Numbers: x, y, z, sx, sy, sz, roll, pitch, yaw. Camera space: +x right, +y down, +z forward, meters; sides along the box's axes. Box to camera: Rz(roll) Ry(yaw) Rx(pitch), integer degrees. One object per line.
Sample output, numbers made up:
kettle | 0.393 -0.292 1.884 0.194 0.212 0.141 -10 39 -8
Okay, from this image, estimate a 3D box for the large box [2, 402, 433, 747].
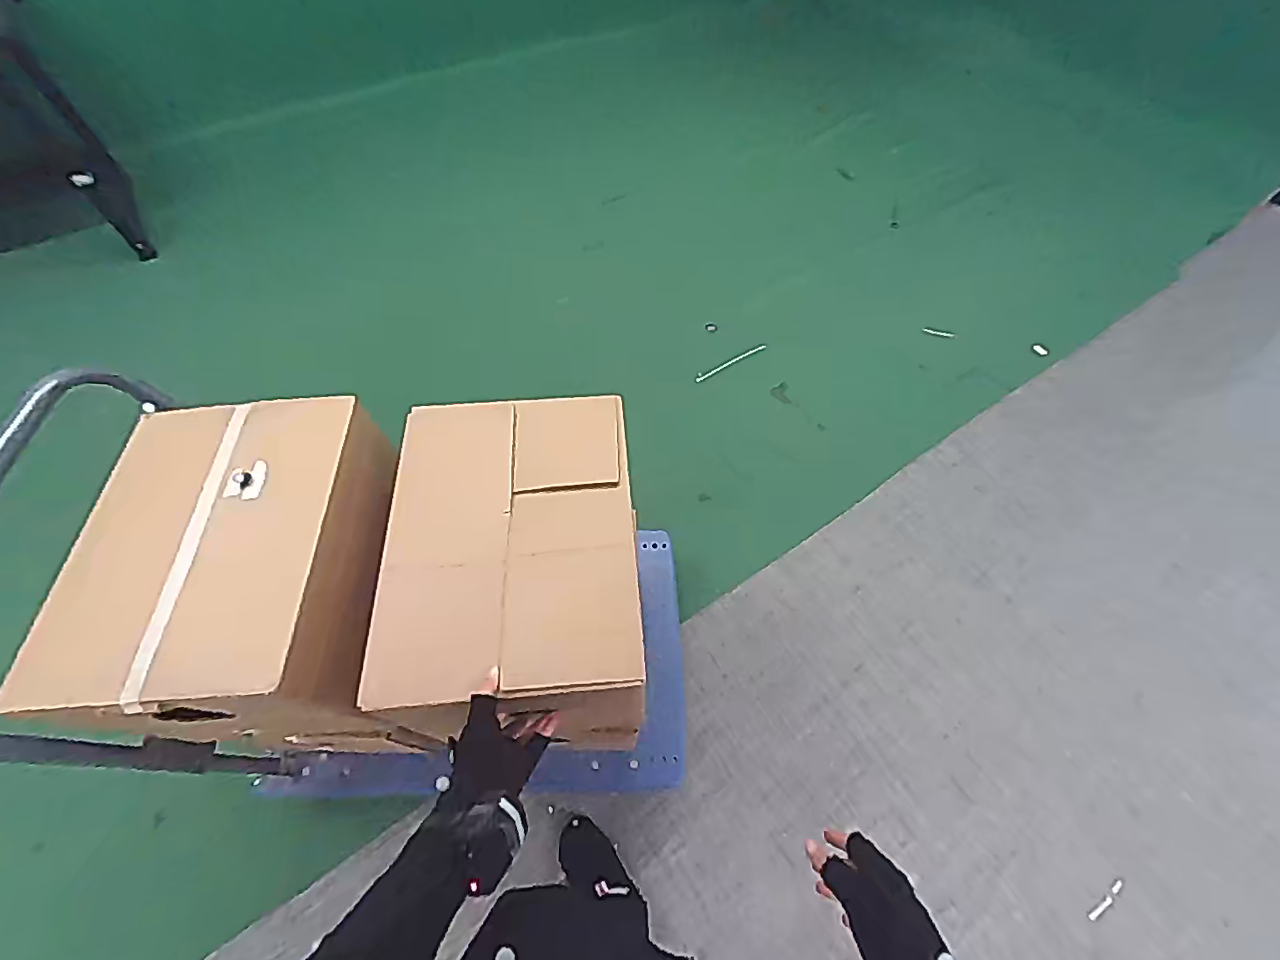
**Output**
large box | -0.536 0.147 0.802 0.320 0.320 0.408 -4 58 1
